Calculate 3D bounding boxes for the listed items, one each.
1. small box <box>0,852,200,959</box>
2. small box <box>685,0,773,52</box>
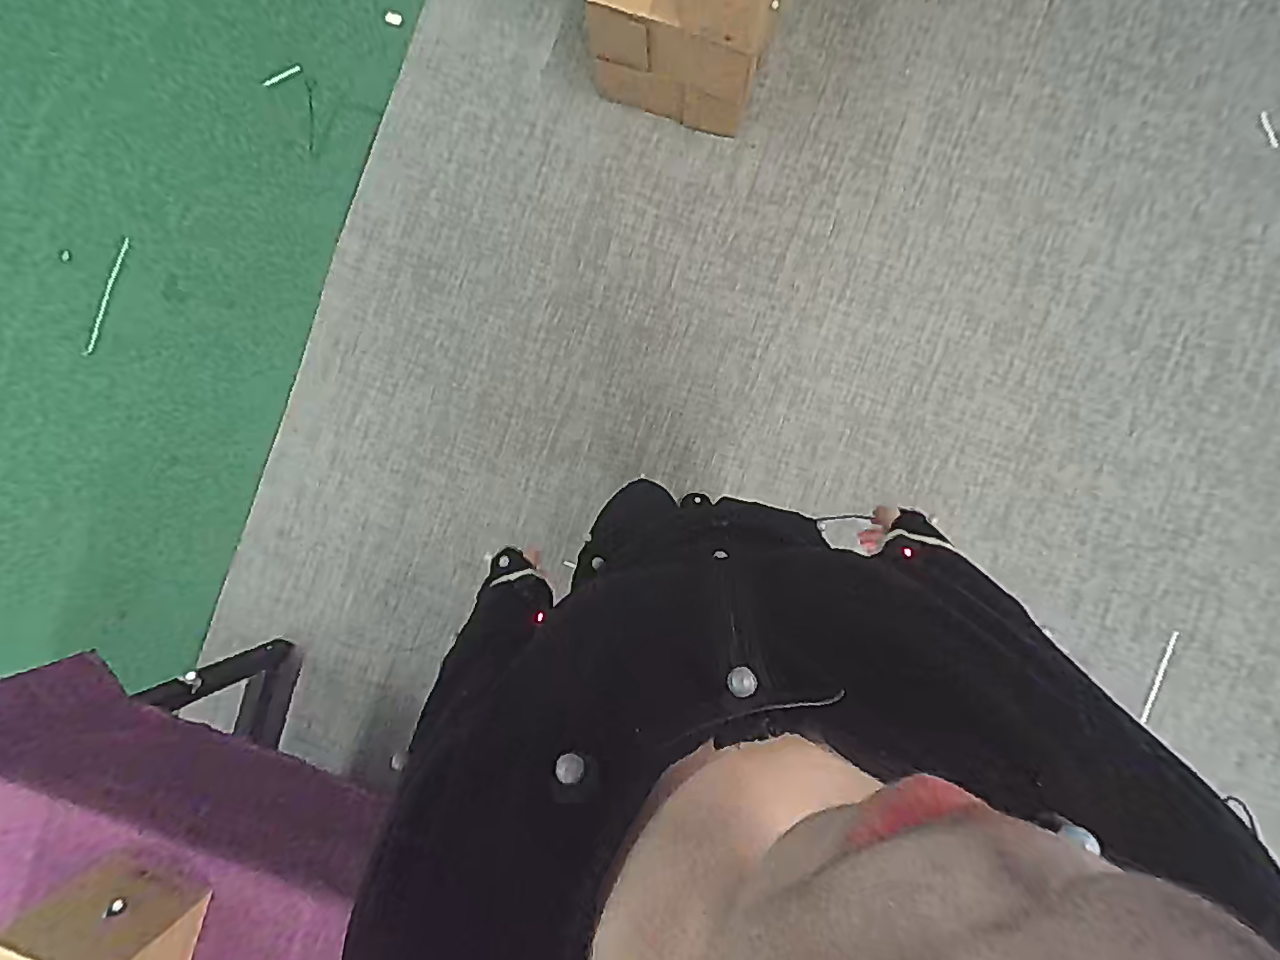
[{"bbox_3d":[-0.771,0.673,0.753,0.168,0.176,0.179,19,91,4],"label":"small box"},{"bbox_3d":[0.197,-1.050,1.112,0.168,0.176,0.179,24,89,3],"label":"small box"}]
